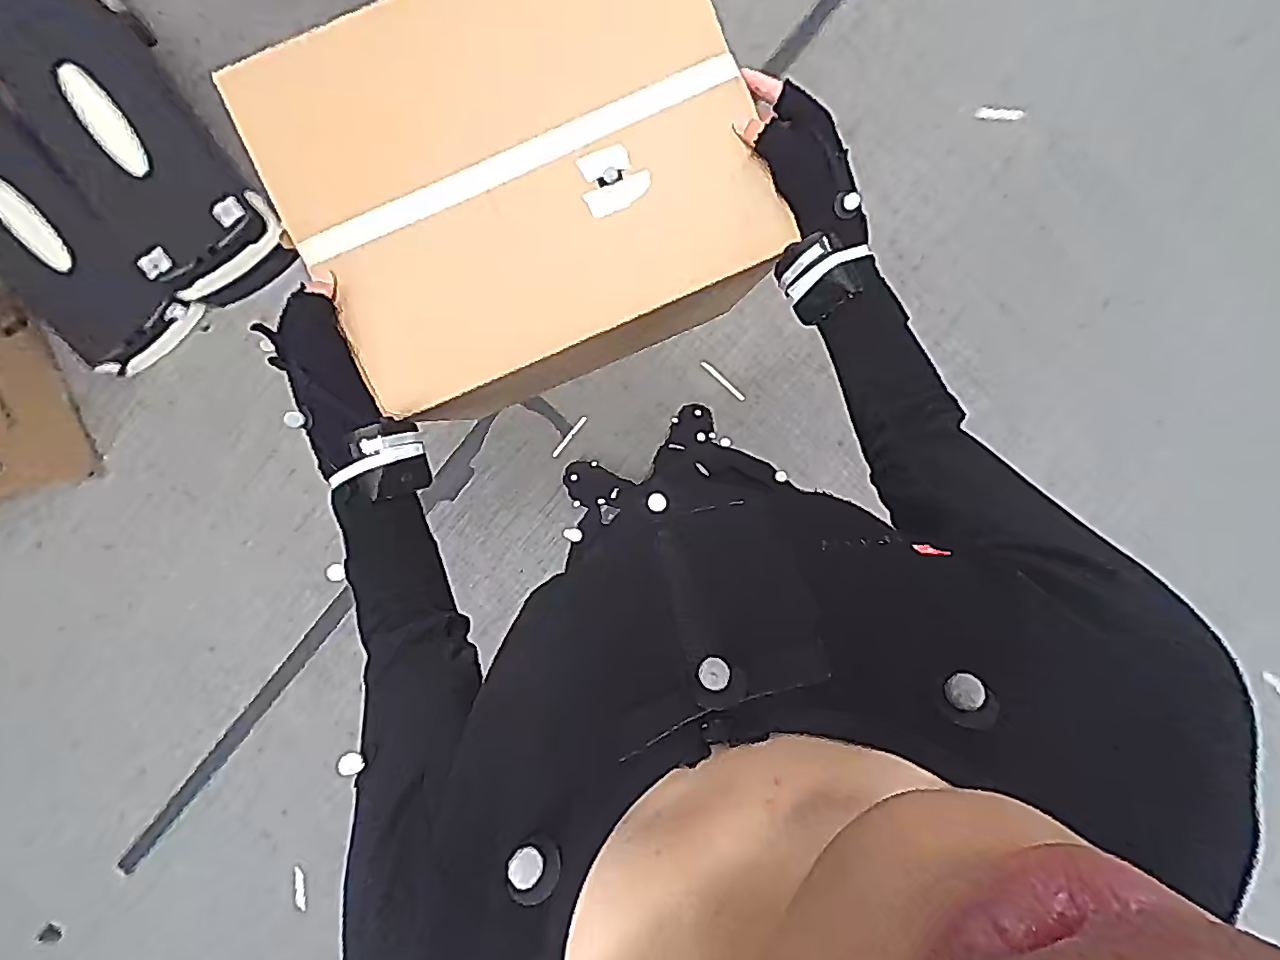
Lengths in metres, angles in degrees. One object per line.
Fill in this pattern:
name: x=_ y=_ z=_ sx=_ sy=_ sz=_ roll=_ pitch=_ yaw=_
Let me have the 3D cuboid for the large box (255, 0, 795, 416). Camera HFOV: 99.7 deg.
large box: x=-0.103 y=-0.294 z=0.629 sx=0.408 sy=0.320 sz=0.320 roll=-23 pitch=98 yaw=-1
